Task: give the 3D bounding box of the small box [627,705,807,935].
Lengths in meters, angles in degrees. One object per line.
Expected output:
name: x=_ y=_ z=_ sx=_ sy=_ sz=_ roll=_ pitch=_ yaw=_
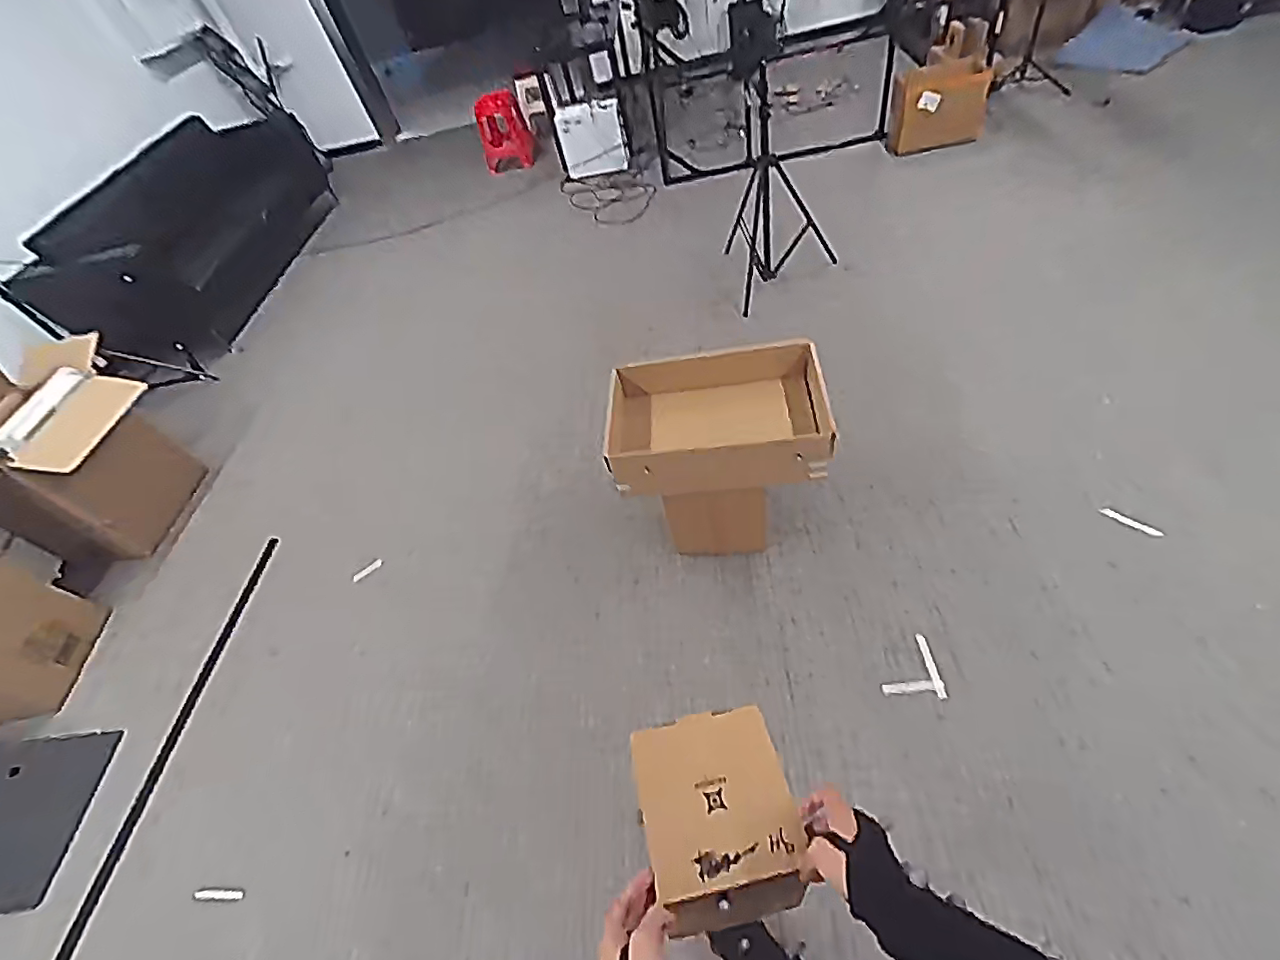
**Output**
small box: x=0.082 y=0.408 z=0.654 sx=0.168 sy=0.176 sz=0.179 roll=-11 pitch=41 yaw=-4
